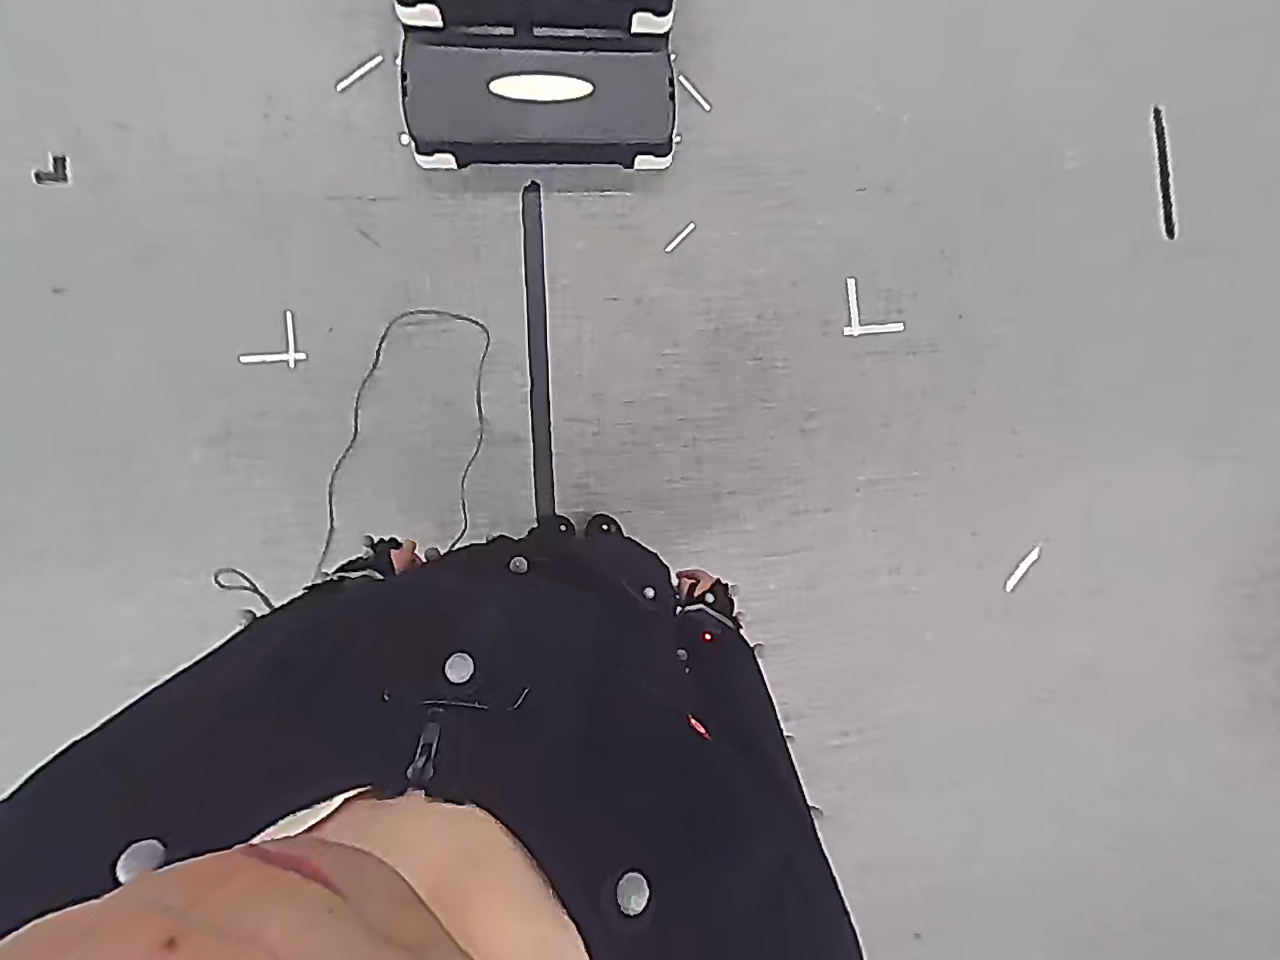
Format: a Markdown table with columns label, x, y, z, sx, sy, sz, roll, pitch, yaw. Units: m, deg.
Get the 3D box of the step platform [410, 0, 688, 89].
| label | x | y | z | sx | sy | sz | roll | pitch | yaw |
| --- | --- | --- | --- | --- | --- | --- | --- | --- | --- |
| step platform | -0.219 | -1.212 | 1.355 | 0.684 | 0.204 | 0.286 | 1 | 87 | -6 |
